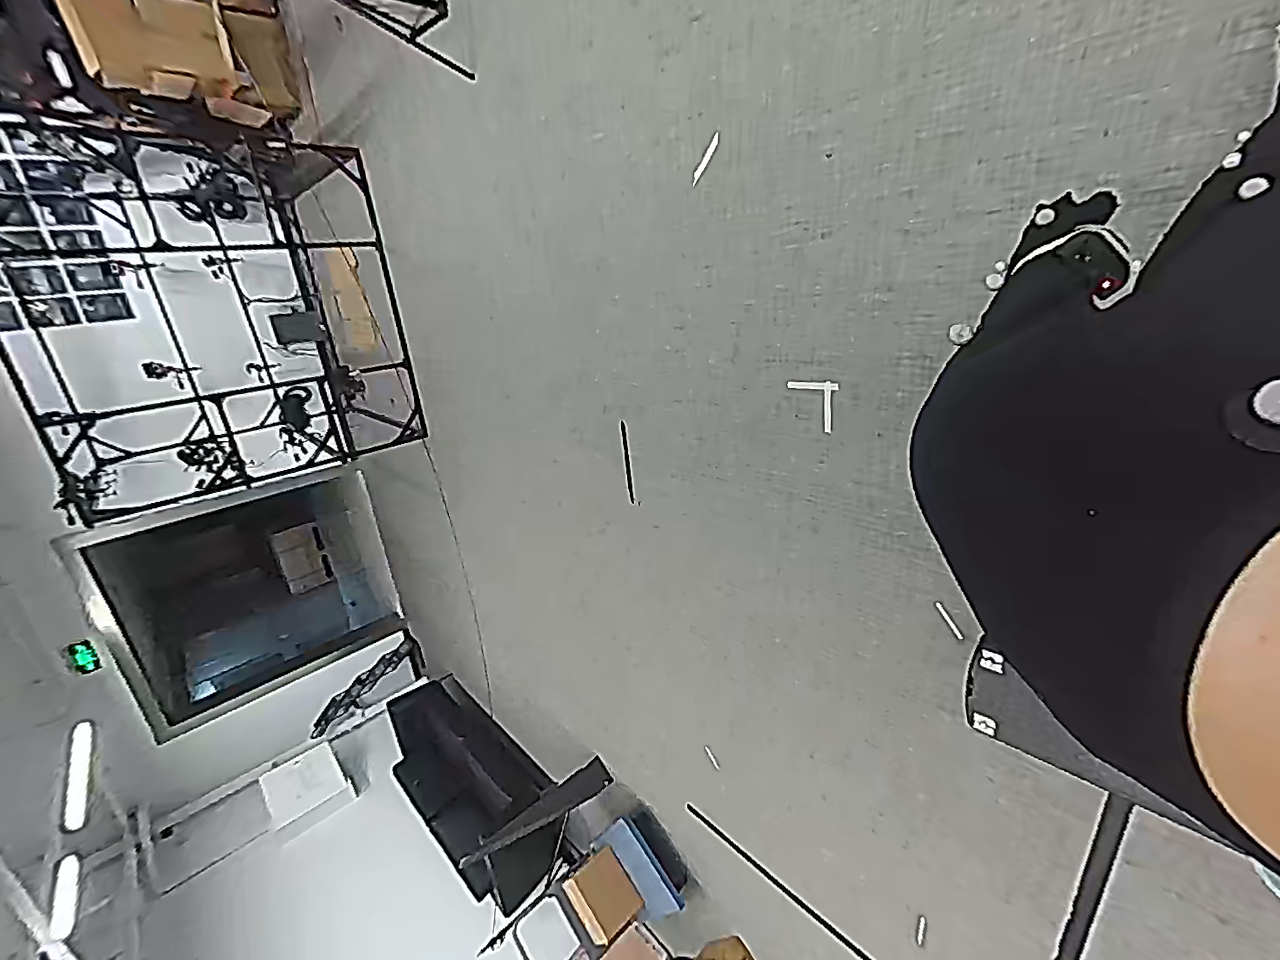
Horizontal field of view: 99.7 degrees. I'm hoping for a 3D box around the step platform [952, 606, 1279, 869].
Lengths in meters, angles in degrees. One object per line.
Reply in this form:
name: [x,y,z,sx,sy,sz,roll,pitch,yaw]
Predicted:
step platform: [1.105,0.548,1.232,0.684,0.204,0.286,16,119,47]
